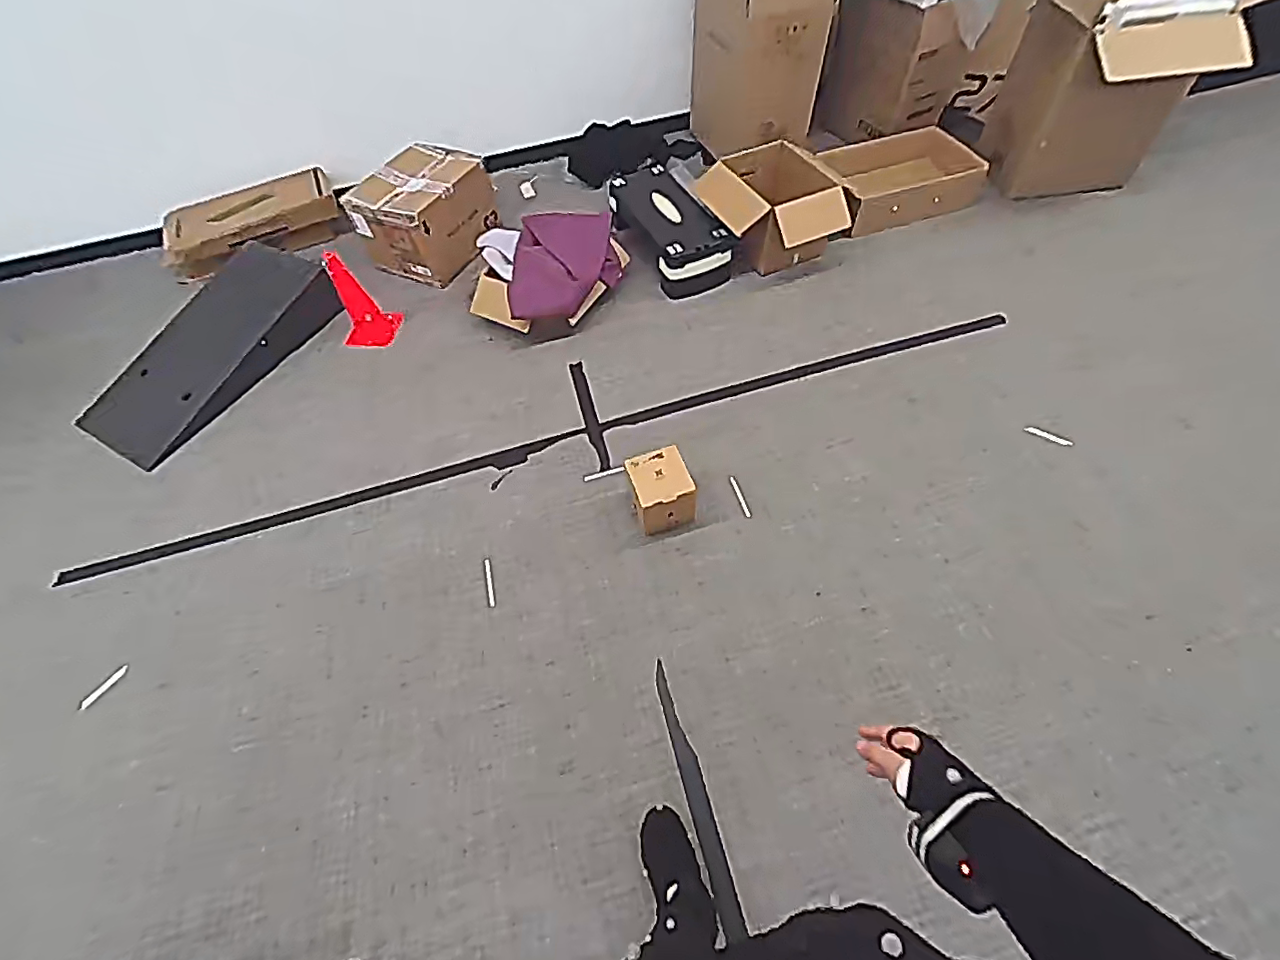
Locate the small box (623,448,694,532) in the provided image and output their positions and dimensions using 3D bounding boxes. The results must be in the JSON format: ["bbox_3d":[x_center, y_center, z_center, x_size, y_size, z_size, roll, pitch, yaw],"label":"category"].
[{"bbox_3d":[0.059,0.038,1.619,0.168,0.176,0.179,-17,58,-7],"label":"small box"}]
